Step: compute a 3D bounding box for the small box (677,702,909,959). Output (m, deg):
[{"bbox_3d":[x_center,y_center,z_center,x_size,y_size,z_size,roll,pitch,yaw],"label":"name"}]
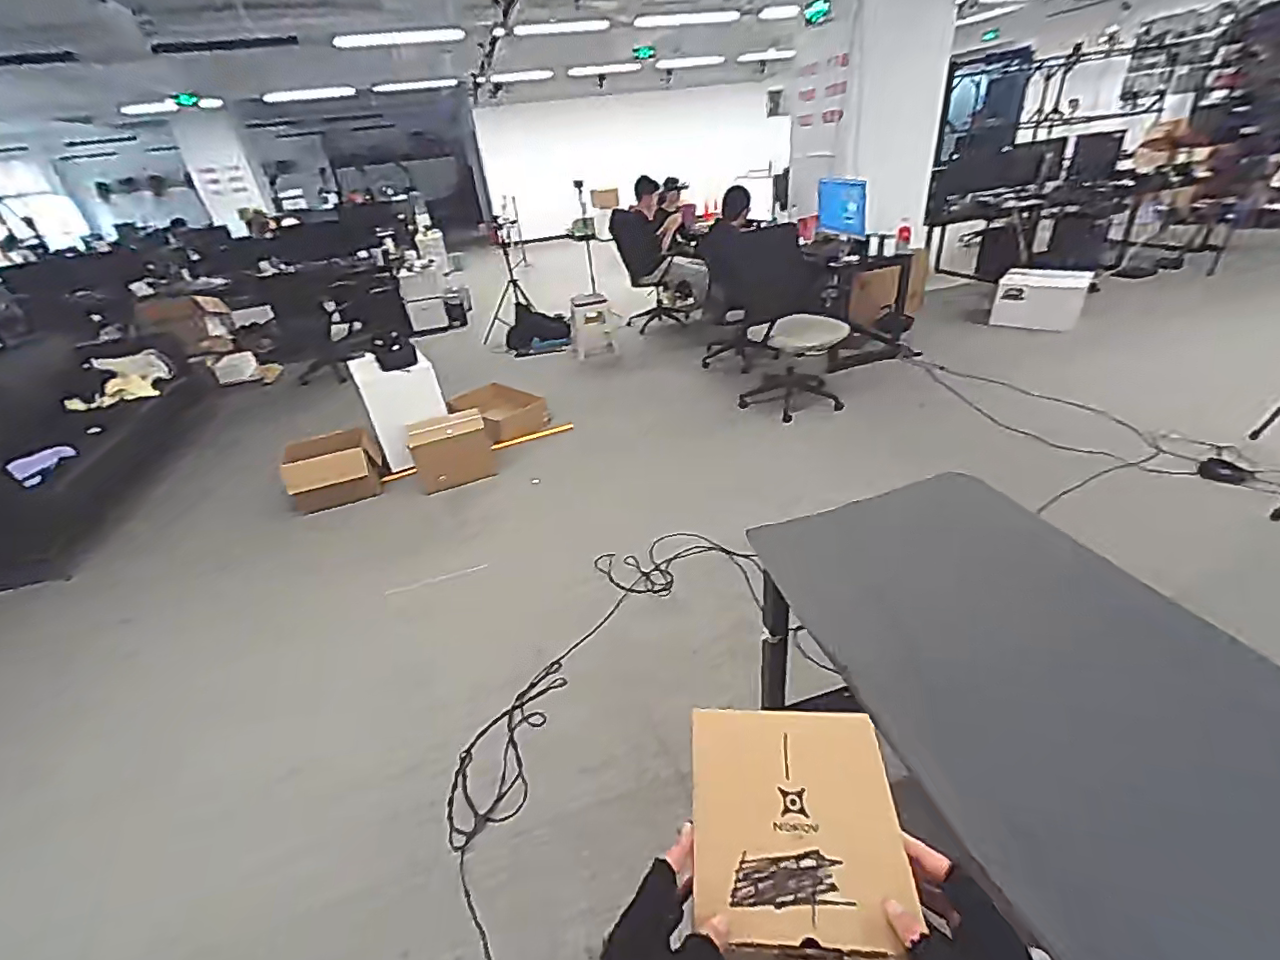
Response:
[{"bbox_3d":[0.121,0.329,0.497,0.168,0.176,0.179,-1,40,5],"label":"small box"}]
